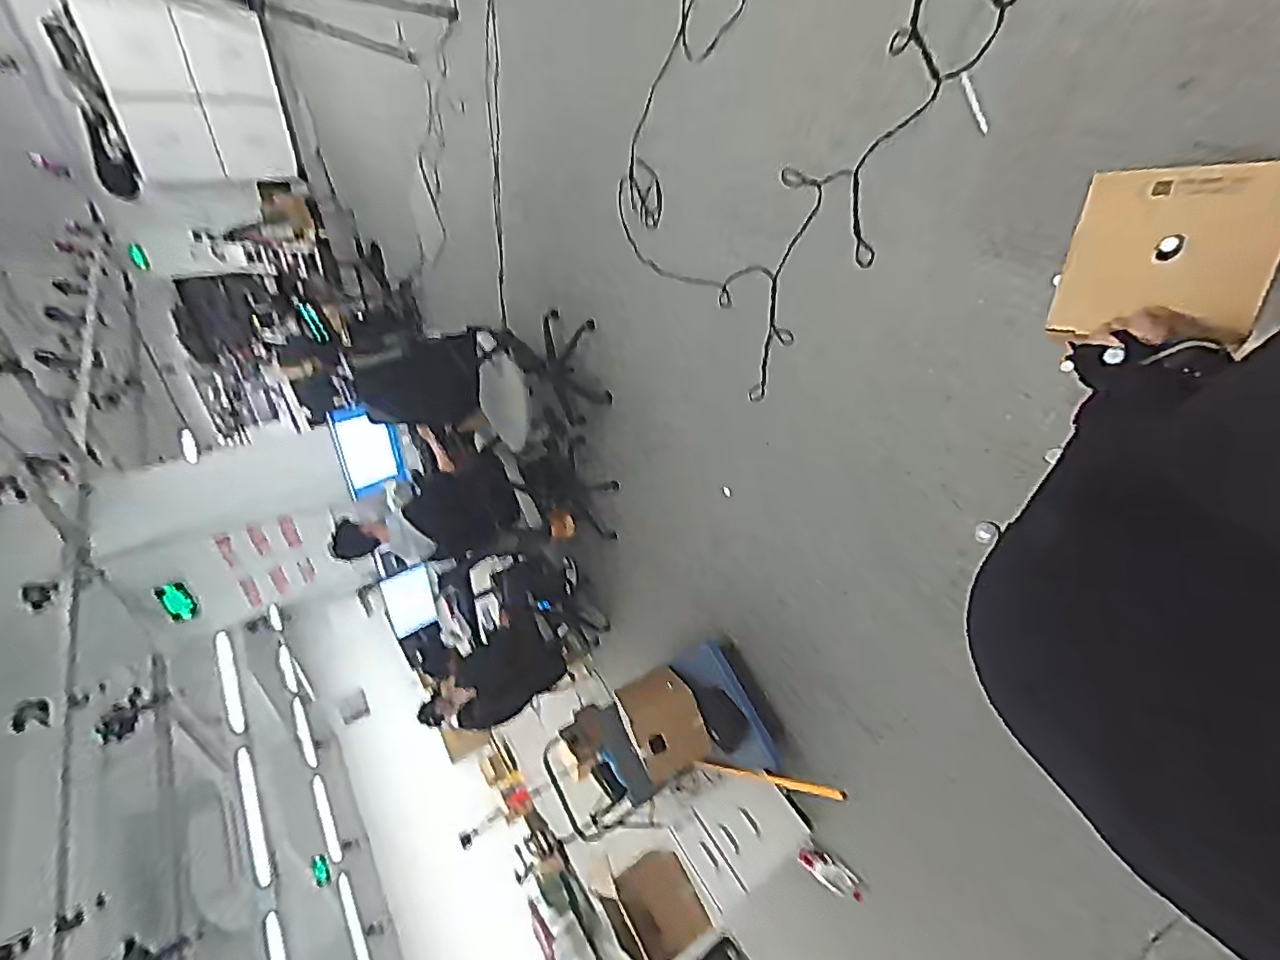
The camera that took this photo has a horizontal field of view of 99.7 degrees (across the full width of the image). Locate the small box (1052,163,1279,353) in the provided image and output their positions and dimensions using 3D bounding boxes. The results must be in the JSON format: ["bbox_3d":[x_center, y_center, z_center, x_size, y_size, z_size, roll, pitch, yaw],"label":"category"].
[{"bbox_3d":[0.599,-0.246,0.616,0.168,0.179,0.176,20,108,38],"label":"small box"}]
